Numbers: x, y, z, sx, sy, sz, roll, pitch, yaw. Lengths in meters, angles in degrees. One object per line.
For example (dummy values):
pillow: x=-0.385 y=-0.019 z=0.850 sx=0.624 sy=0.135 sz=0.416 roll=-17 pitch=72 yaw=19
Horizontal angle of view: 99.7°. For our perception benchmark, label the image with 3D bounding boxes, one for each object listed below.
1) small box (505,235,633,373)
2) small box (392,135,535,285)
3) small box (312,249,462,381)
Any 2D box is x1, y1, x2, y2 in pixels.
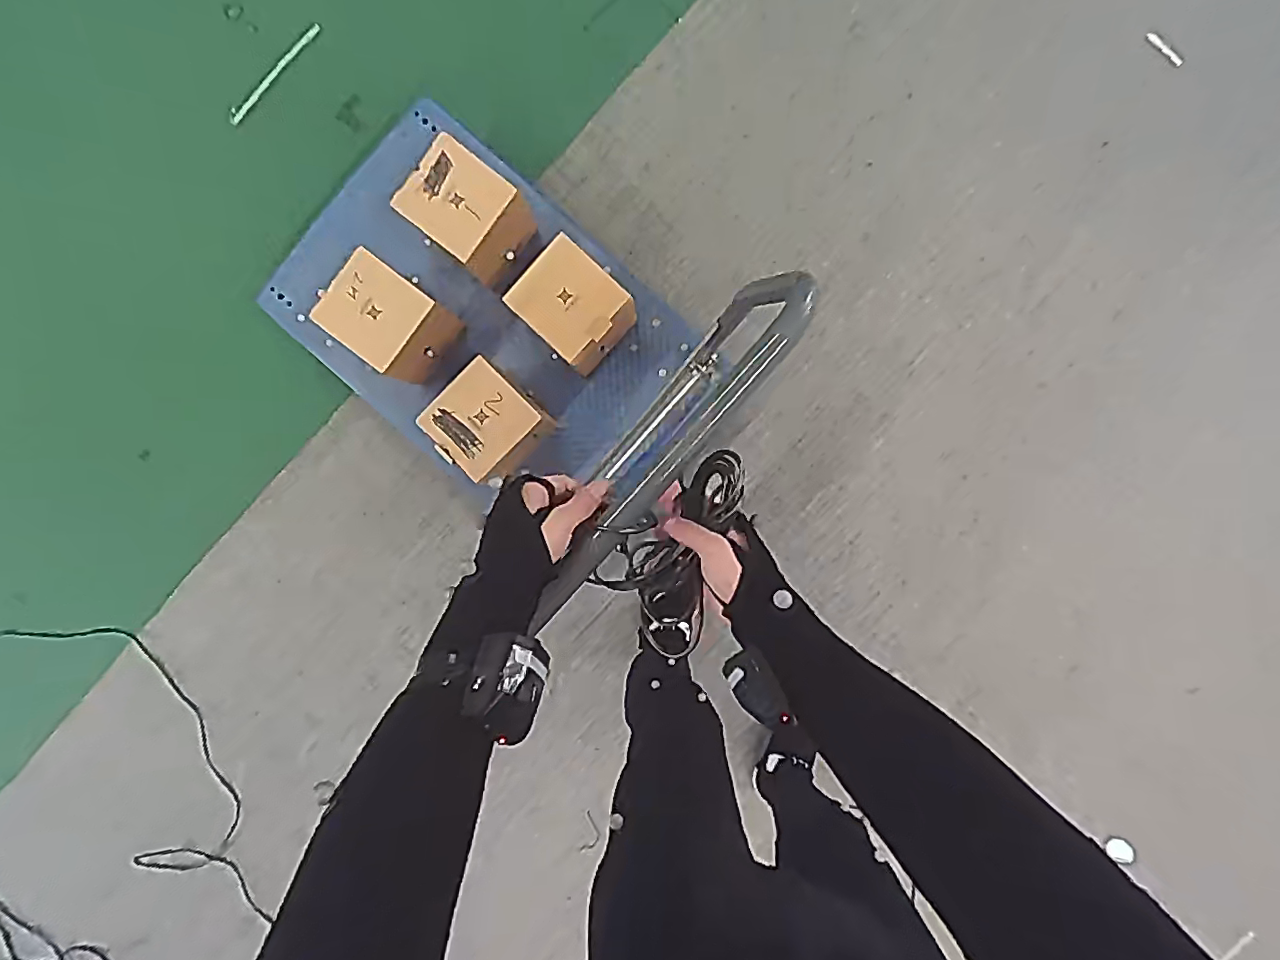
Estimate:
small box: x=-0.130 y=-0.331 z=1.058 sx=0.179 sy=0.176 sz=0.168 roll=43 pitch=93 yaw=-1
small box: x=-0.332 y=-0.510 z=1.054 sx=0.179 sy=0.176 sz=0.168 roll=38 pitch=94 yaw=-1
small box: x=-0.485 y=-0.311 z=1.067 sx=0.179 sy=0.176 sz=0.168 roll=38 pitch=92 yaw=0
